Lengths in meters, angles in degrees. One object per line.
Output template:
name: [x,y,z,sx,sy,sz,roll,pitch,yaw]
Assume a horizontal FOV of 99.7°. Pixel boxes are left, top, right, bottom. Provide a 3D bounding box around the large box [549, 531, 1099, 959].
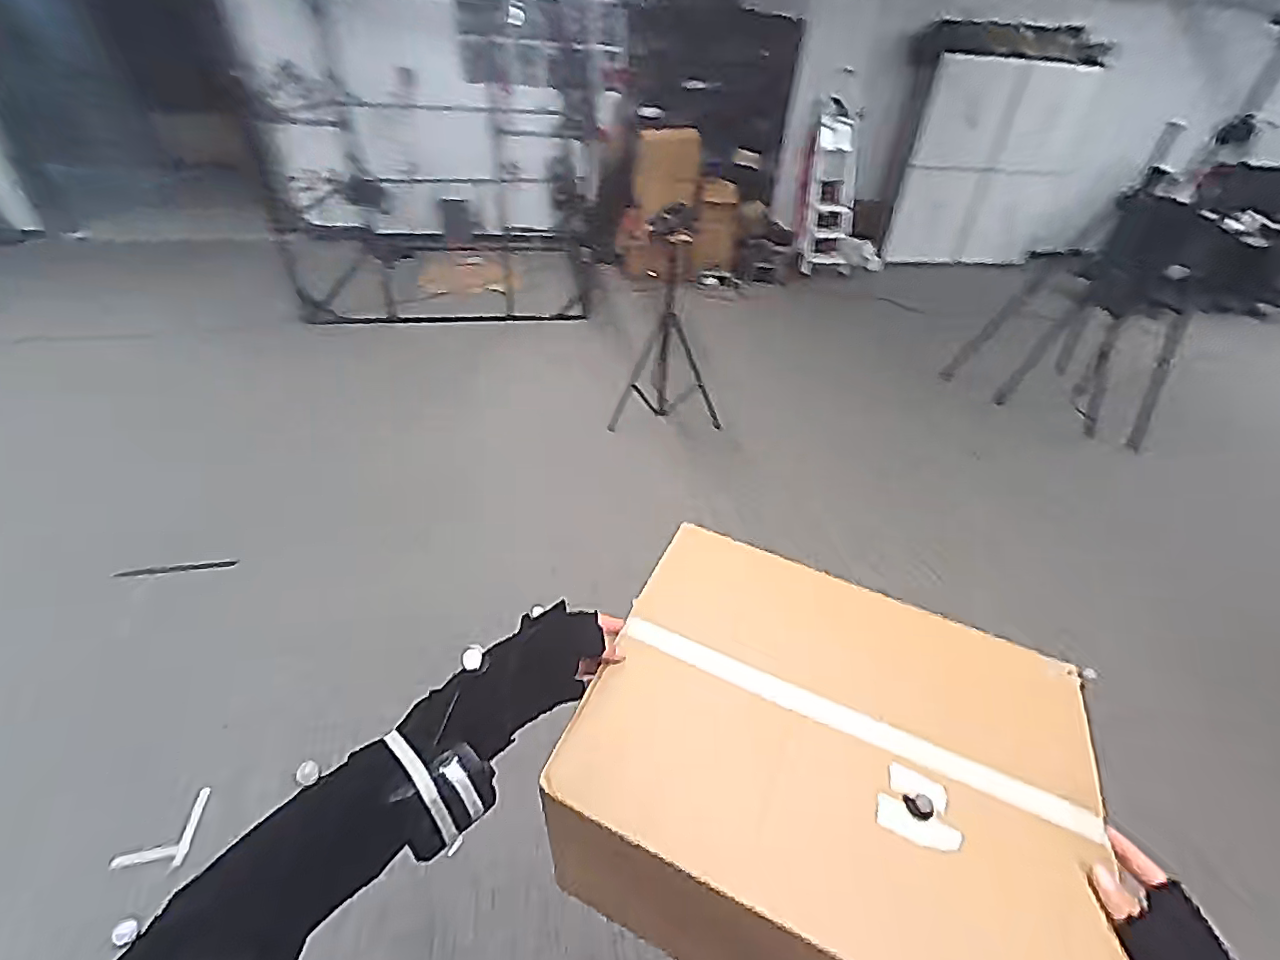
large box: [0.153,0.318,0.578,0.408,0.320,0.320,19,44,15]
